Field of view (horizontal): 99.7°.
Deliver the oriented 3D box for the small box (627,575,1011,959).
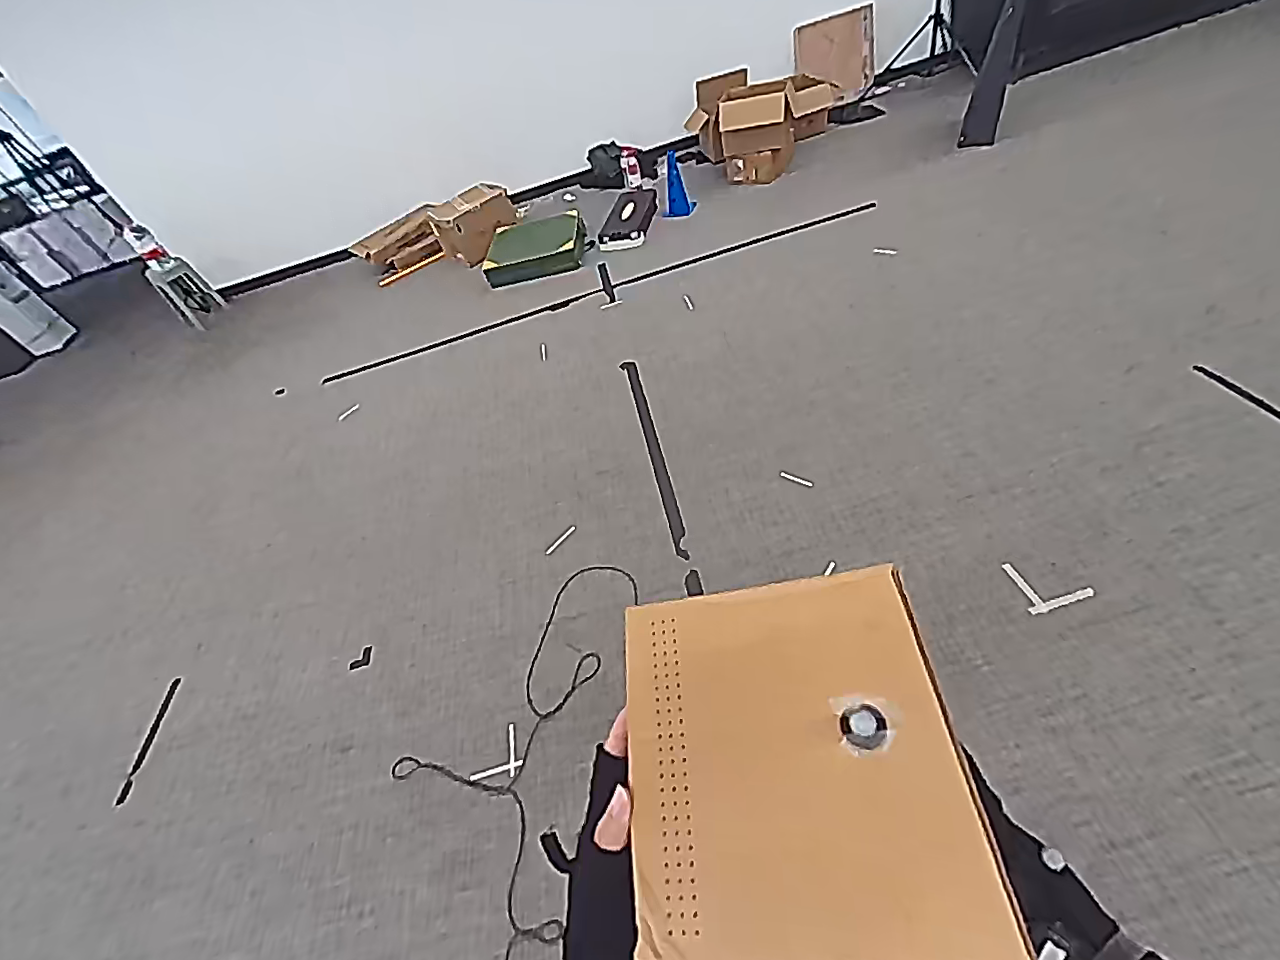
[{"bbox_3d":[0.094,0.186,0.348,0.176,0.168,0.179,-14,53,15],"label":"small box"}]
